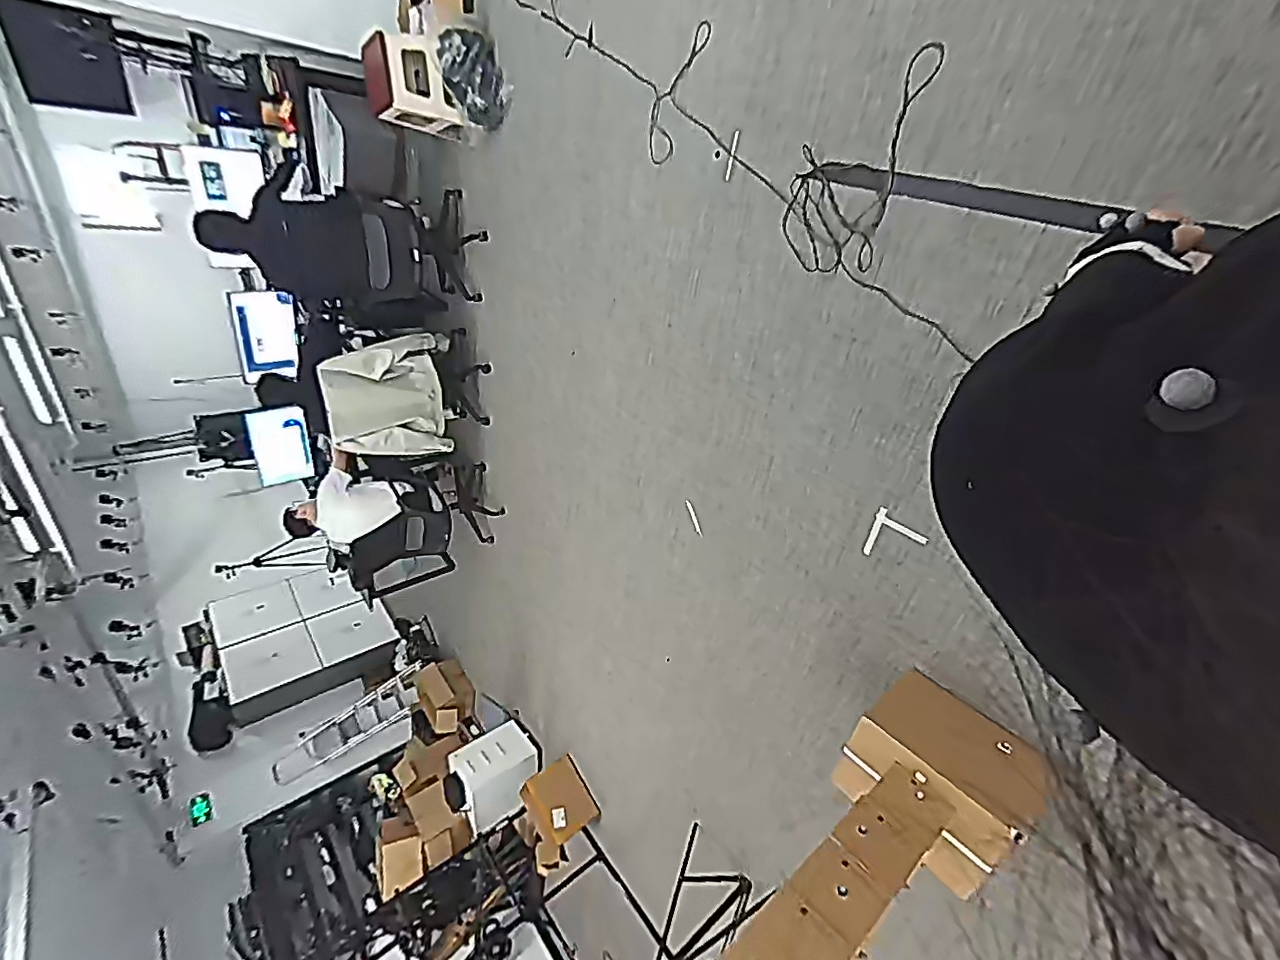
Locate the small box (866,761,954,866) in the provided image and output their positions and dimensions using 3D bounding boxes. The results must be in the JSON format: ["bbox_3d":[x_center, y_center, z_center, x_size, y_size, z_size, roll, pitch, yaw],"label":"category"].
[{"bbox_3d":[0.671,0.875,1.389,0.168,0.176,0.179,34,127,39],"label":"small box"}]

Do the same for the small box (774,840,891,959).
[{"bbox_3d":[0.424,0.949,1.190,0.168,0.176,0.179,29,125,44],"label":"small box"}]

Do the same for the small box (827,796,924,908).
[{"bbox_3d":[0.546,0.906,1.291,0.168,0.176,0.179,33,128,41],"label":"small box"}]
